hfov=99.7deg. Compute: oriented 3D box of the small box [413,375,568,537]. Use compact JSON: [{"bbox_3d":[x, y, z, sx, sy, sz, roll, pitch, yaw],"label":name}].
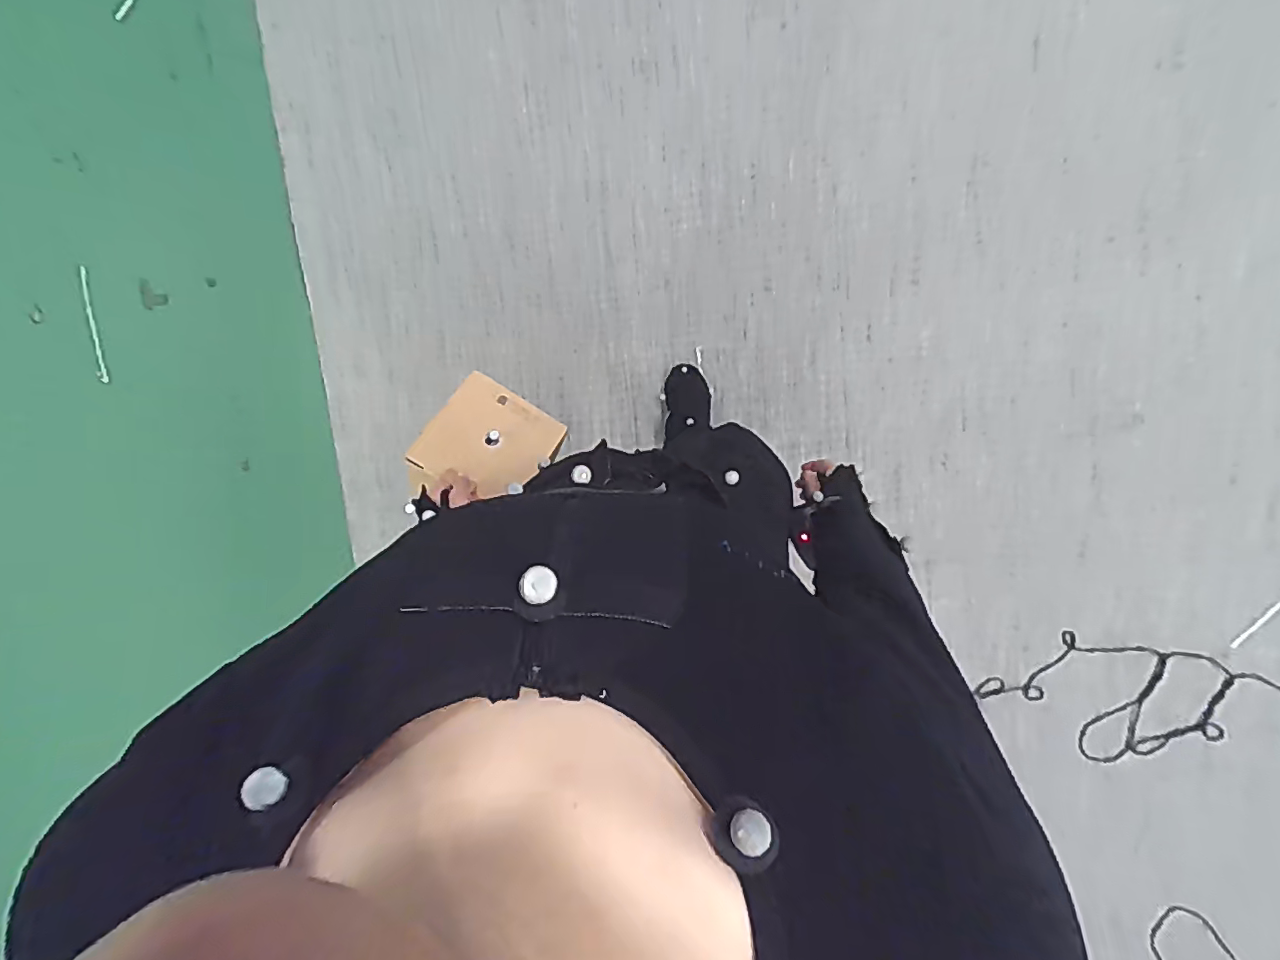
[{"bbox_3d":[-0.230,-0.035,0.851,0.168,0.179,0.176,31,67,-6],"label":"small box"}]
